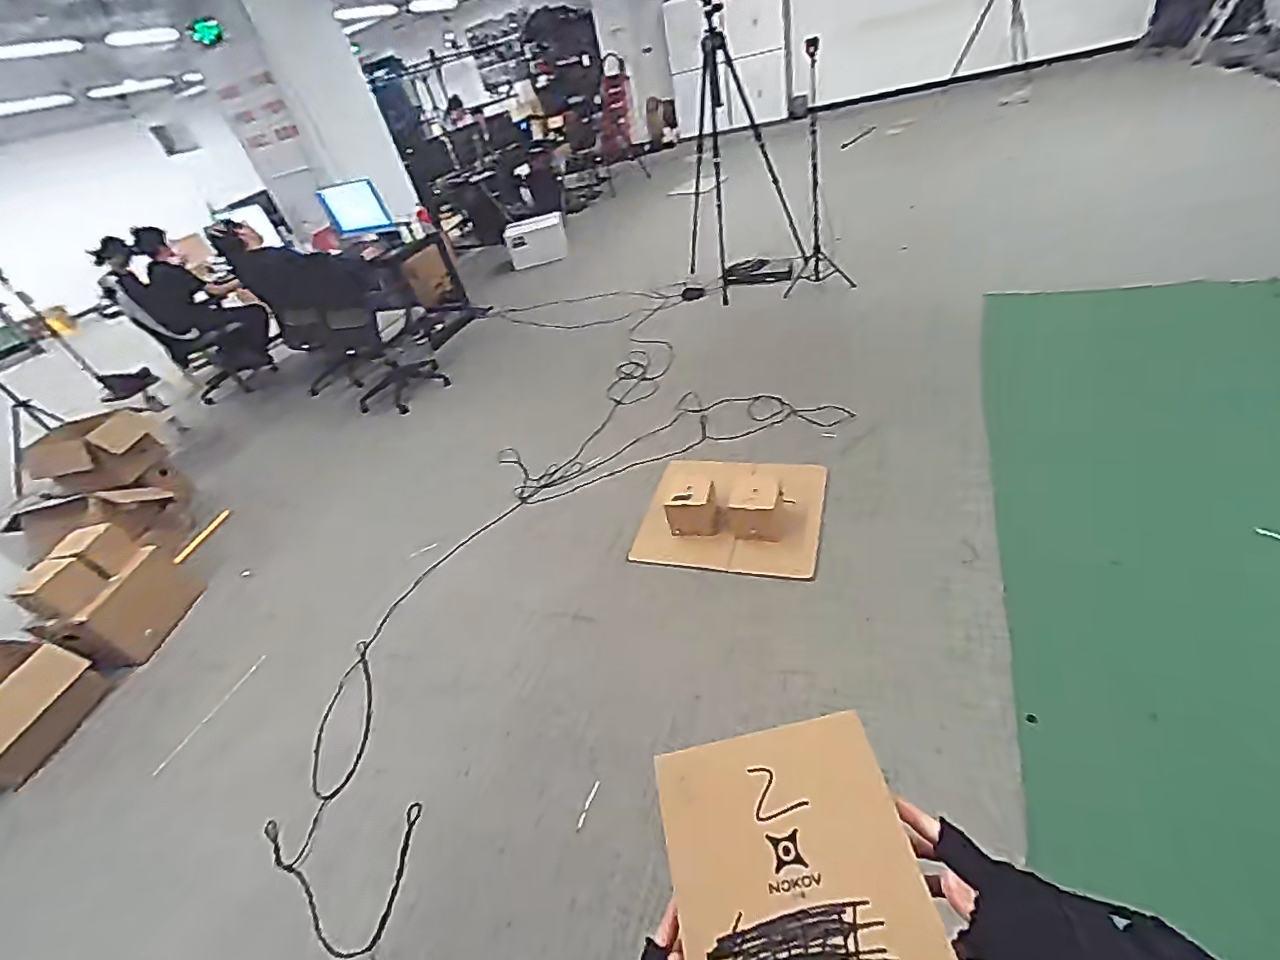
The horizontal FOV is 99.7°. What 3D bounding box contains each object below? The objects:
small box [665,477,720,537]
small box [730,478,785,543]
[{"bbox_3d":[0.211,0.107,2.114,0.168,0.176,0.179,-1,40,20],"label":"small box"},{"bbox_3d":[0.445,0.113,2.023,0.168,0.176,0.179,2,42,24],"label":"small box"}]
